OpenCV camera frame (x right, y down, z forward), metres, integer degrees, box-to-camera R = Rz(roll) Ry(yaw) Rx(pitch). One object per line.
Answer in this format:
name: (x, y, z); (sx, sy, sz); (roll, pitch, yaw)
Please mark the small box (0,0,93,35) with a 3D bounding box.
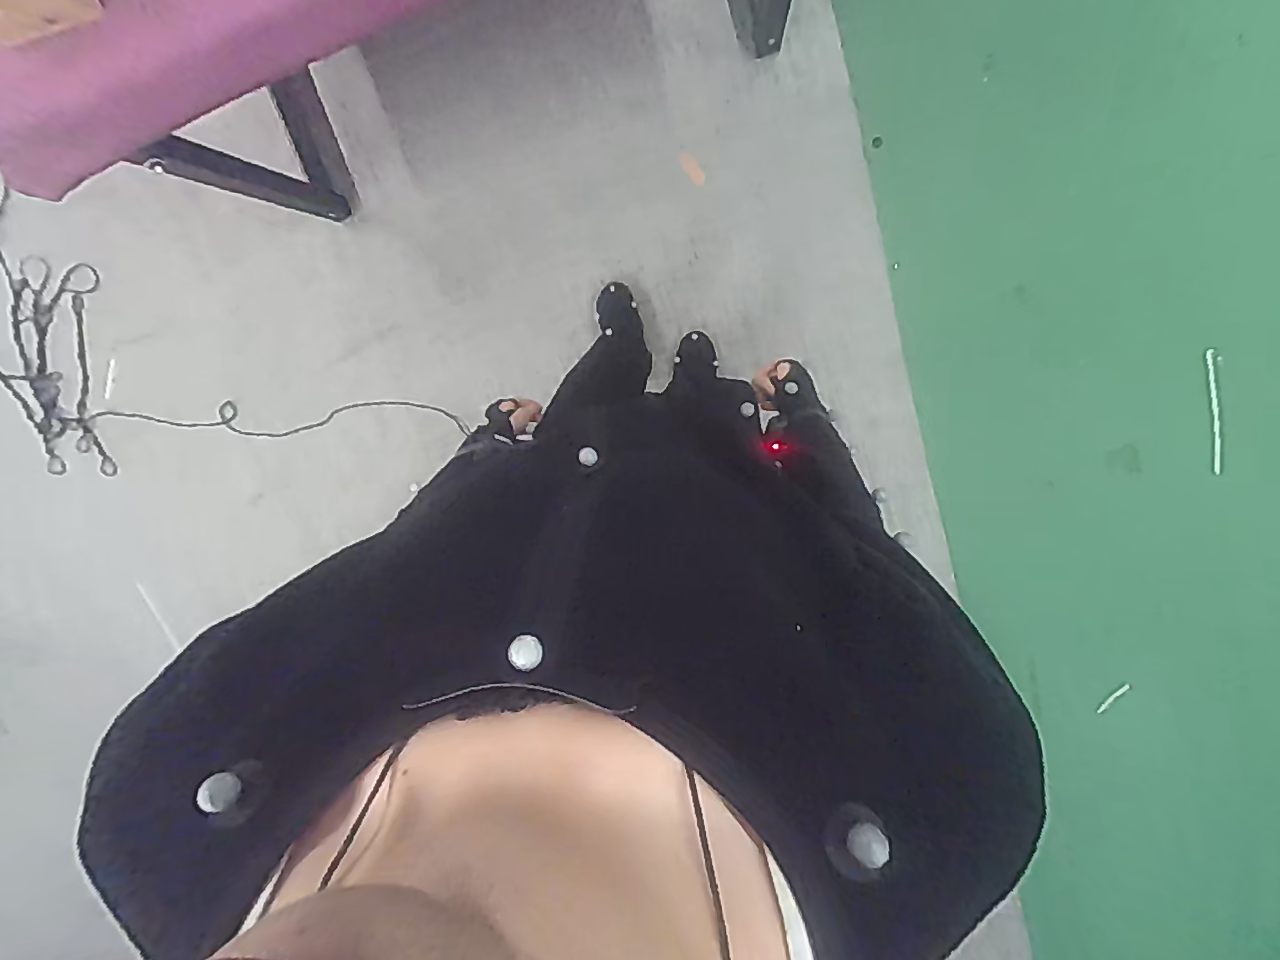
small box: (-0.781, -0.636, 0.597); (0.168, 0.176, 0.179); (-8, 105, 8)
